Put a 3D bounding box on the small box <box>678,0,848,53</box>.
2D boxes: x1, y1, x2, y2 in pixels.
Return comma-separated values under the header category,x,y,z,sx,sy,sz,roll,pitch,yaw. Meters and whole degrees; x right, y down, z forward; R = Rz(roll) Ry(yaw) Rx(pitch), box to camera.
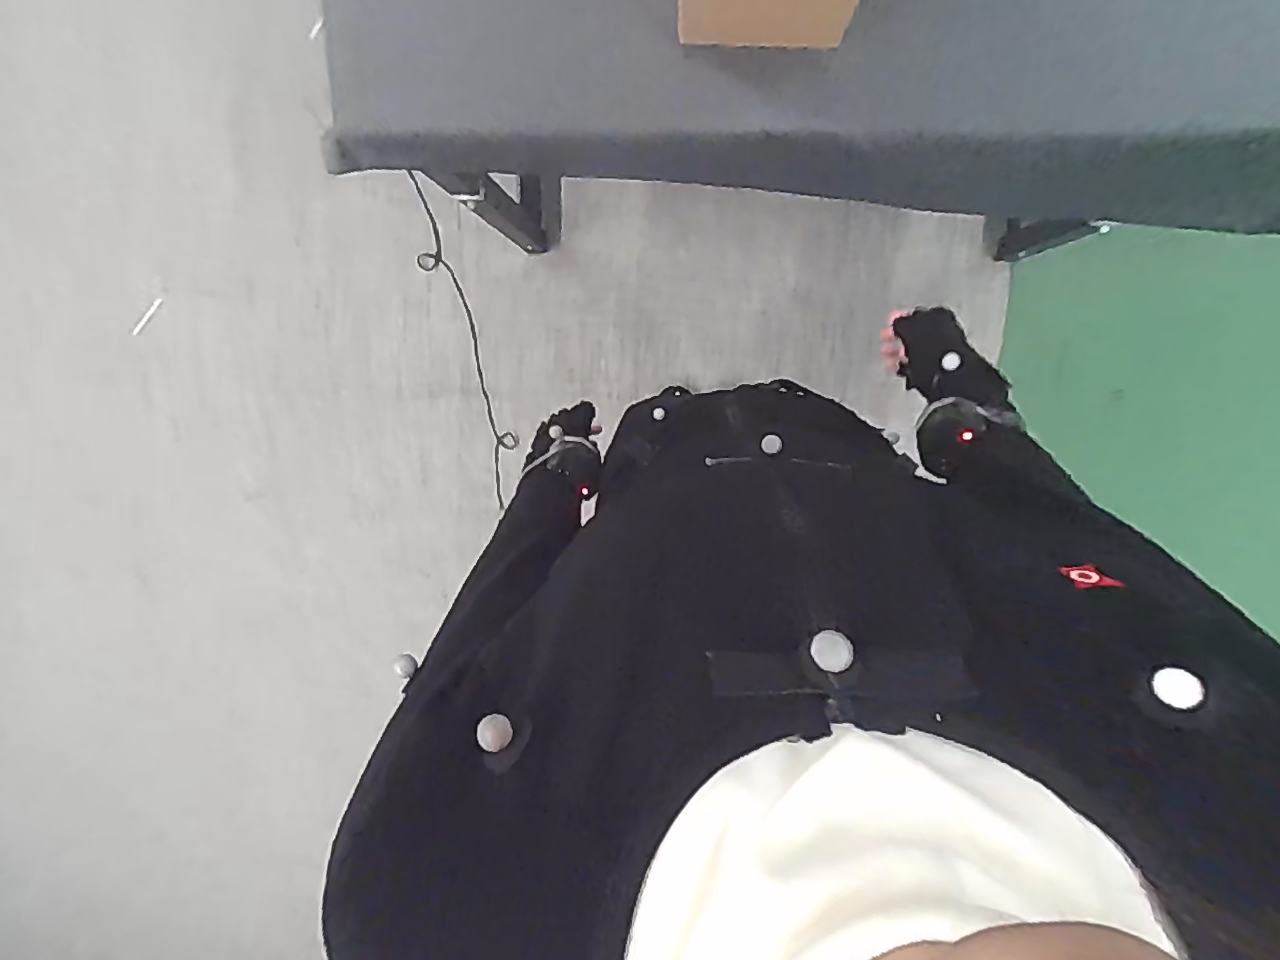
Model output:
category,x,y,z,sx,sy,sz,roll,pitch,yaw
small box,0.128,-0.553,0.524,0.179,0.176,0.168,4,101,4
